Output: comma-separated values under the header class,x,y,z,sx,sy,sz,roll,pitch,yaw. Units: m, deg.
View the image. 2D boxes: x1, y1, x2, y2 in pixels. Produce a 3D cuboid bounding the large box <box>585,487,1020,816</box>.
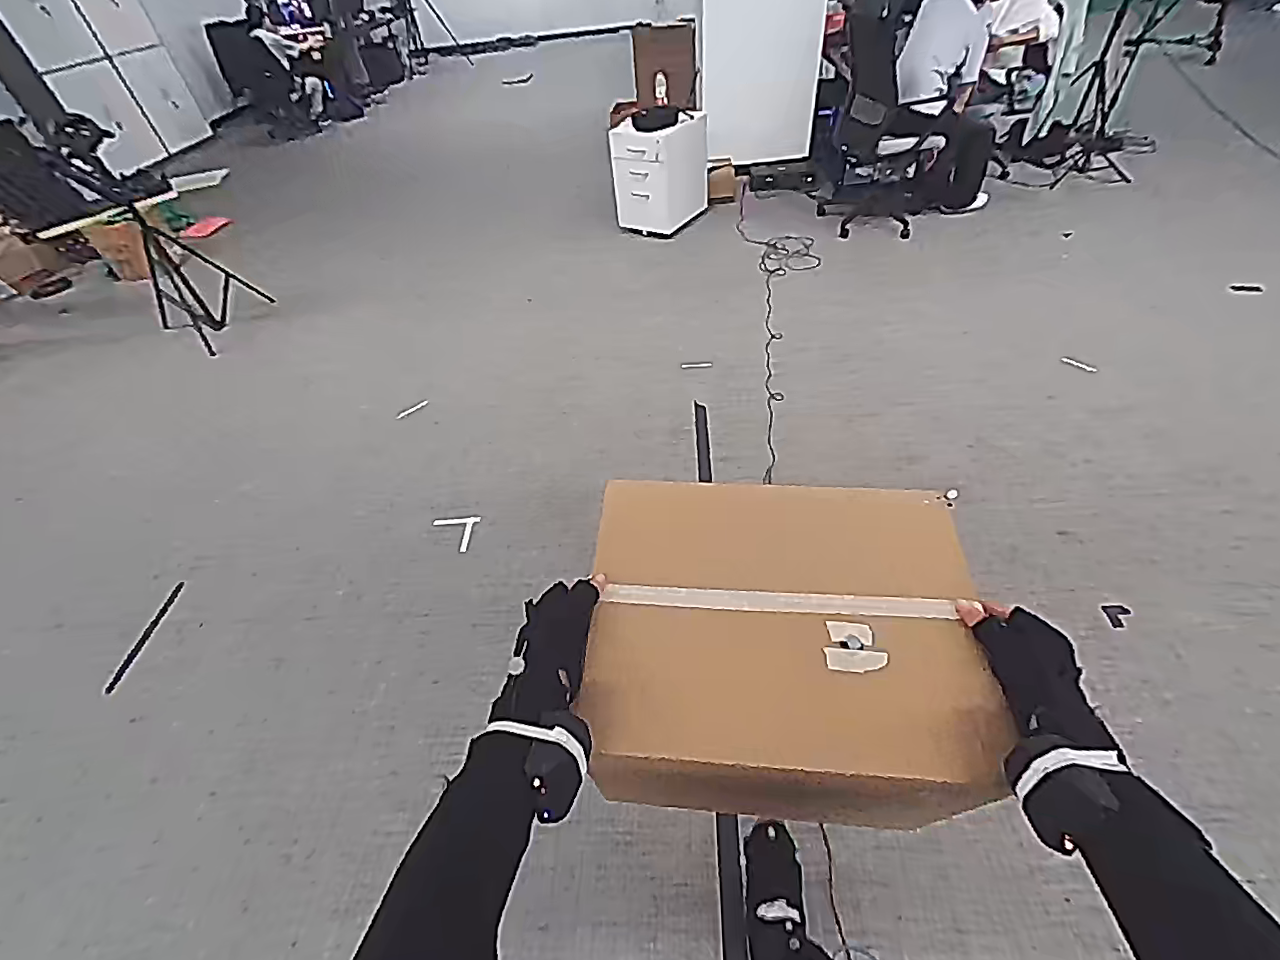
class,x,y,z,sx,sy,sz,roll,pitch,yaw
large box,0.160,0.225,0.703,0.408,0.320,0.320,2,52,5
